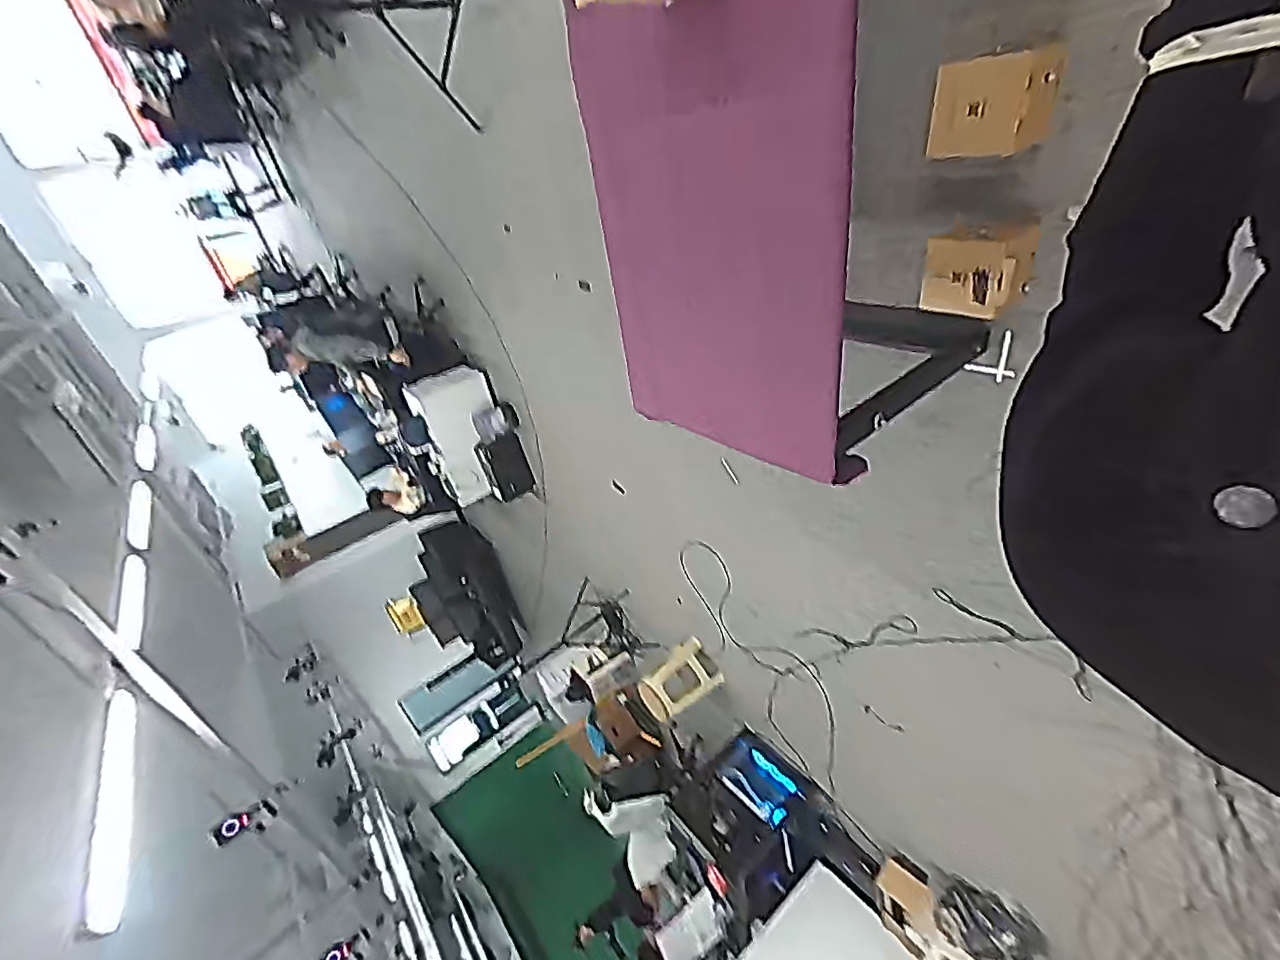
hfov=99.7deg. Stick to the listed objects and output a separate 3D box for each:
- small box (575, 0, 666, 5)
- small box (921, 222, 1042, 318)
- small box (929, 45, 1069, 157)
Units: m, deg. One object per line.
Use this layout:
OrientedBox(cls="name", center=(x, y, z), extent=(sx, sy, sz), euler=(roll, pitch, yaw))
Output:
OrientedBox(cls="small box", center=(0.009, -0.771, 0.726), extent=(0.168, 0.176, 0.179), euler=(31, 141, 44))
OrientedBox(cls="small box", center=(0.797, -0.497, 1.265), extent=(0.179, 0.176, 0.168), euler=(30, 140, 45))
OrientedBox(cls="small box", center=(0.733, -0.773, 1.108), extent=(0.179, 0.176, 0.168), euler=(31, 140, 44))
